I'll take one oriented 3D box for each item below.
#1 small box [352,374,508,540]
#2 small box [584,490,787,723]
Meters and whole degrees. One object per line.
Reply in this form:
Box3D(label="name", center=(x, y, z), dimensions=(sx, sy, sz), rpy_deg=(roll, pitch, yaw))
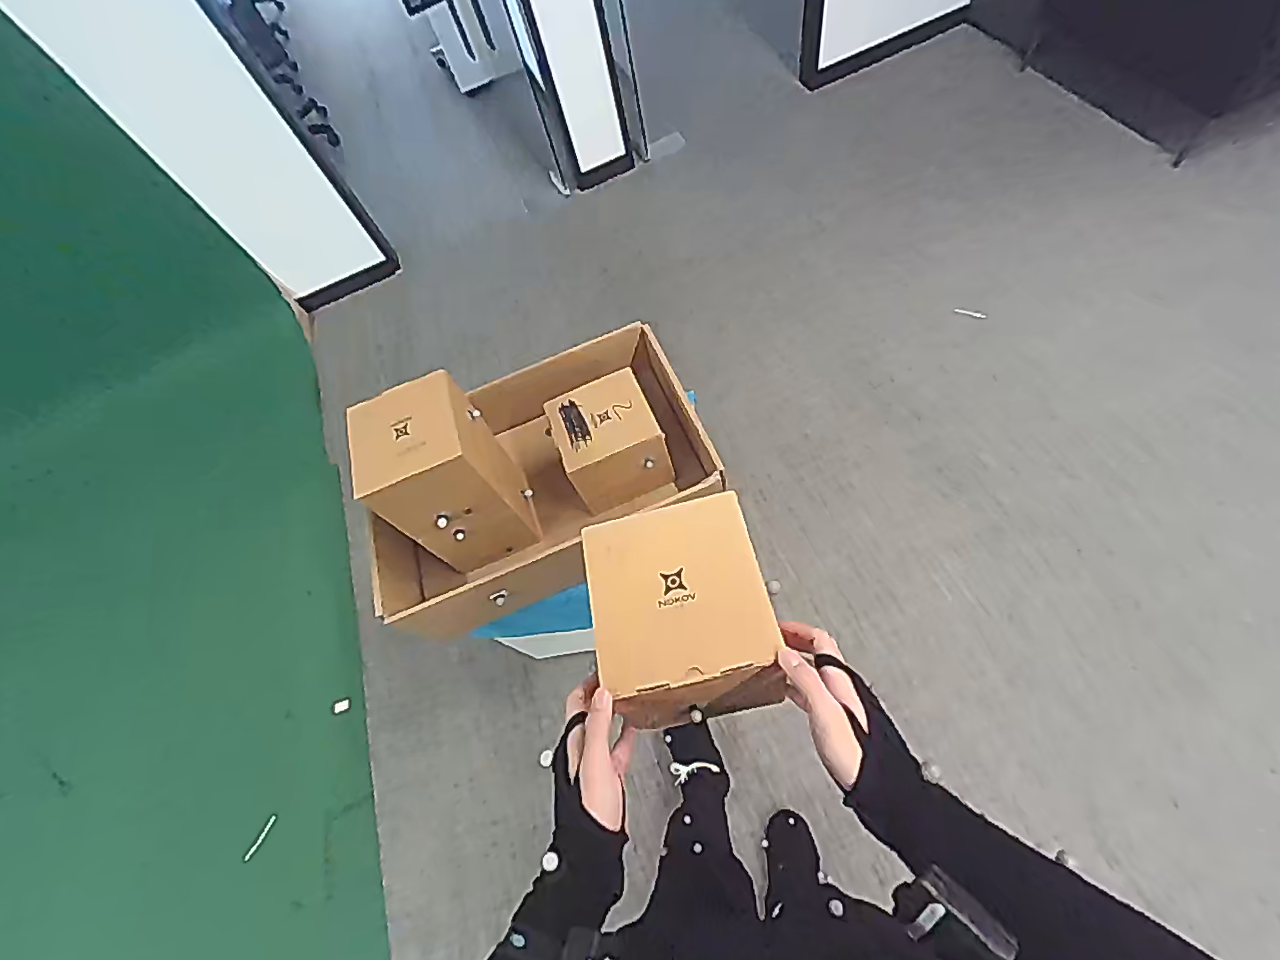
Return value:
Box3D(label="small box", center=(-0.332, -0.031, 0.867), dimensions=(0.168, 0.176, 0.179), rpy_deg=(-22, 59, -1))
Box3D(label="small box", center=(0.047, 0.140, 0.576), dimensions=(0.168, 0.176, 0.179), rpy_deg=(-14, 56, 4))
